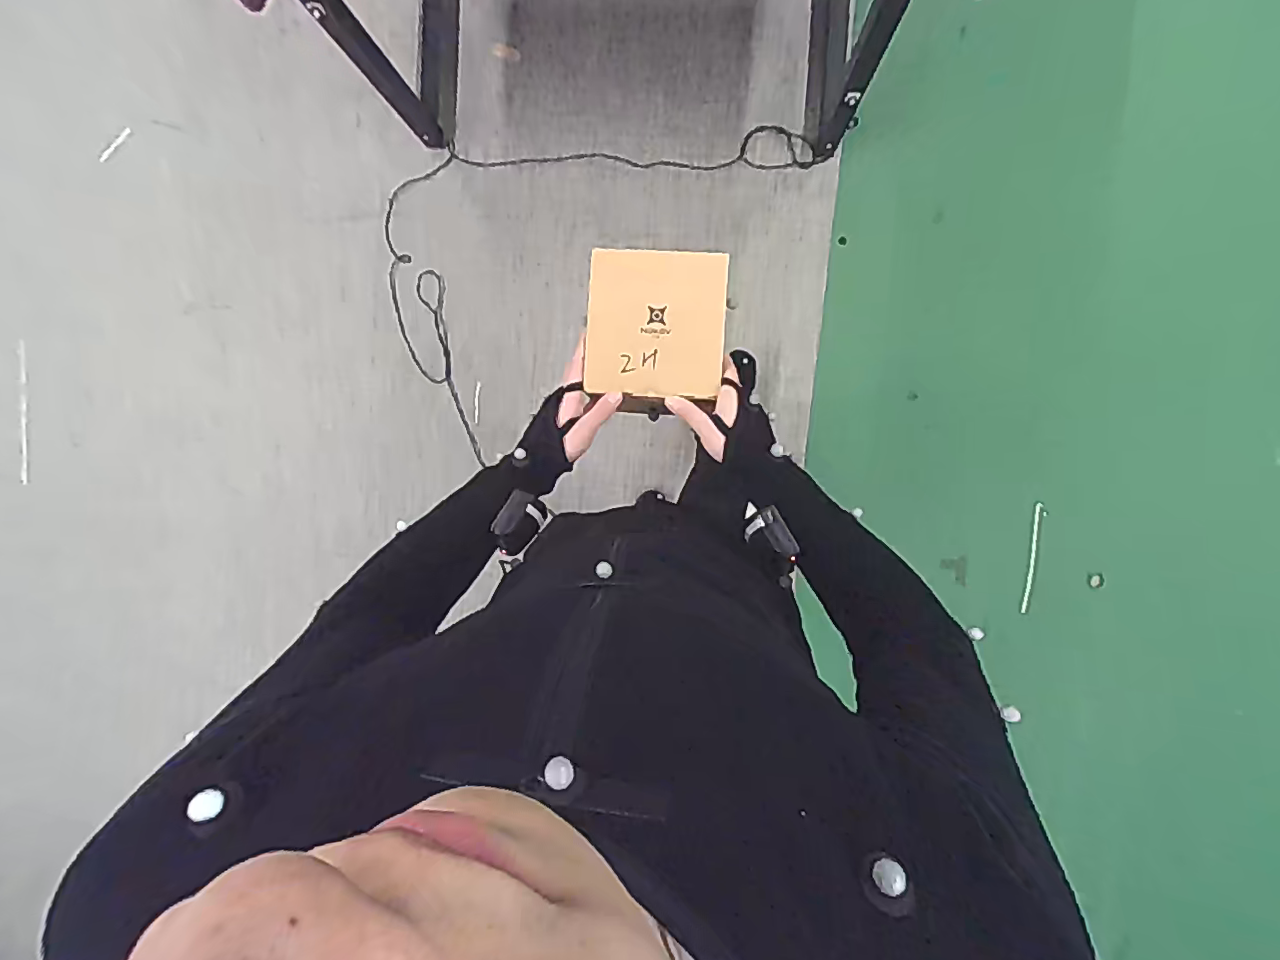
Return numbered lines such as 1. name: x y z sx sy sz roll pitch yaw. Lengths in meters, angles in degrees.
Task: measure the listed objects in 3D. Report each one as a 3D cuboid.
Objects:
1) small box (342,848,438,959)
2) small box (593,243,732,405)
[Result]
1. small box: -0.665 1.148 1.457 0.168 0.176 0.179 11 94 4
2. small box: 0.031 -0.197 0.723 0.168 0.176 0.179 1 94 5
